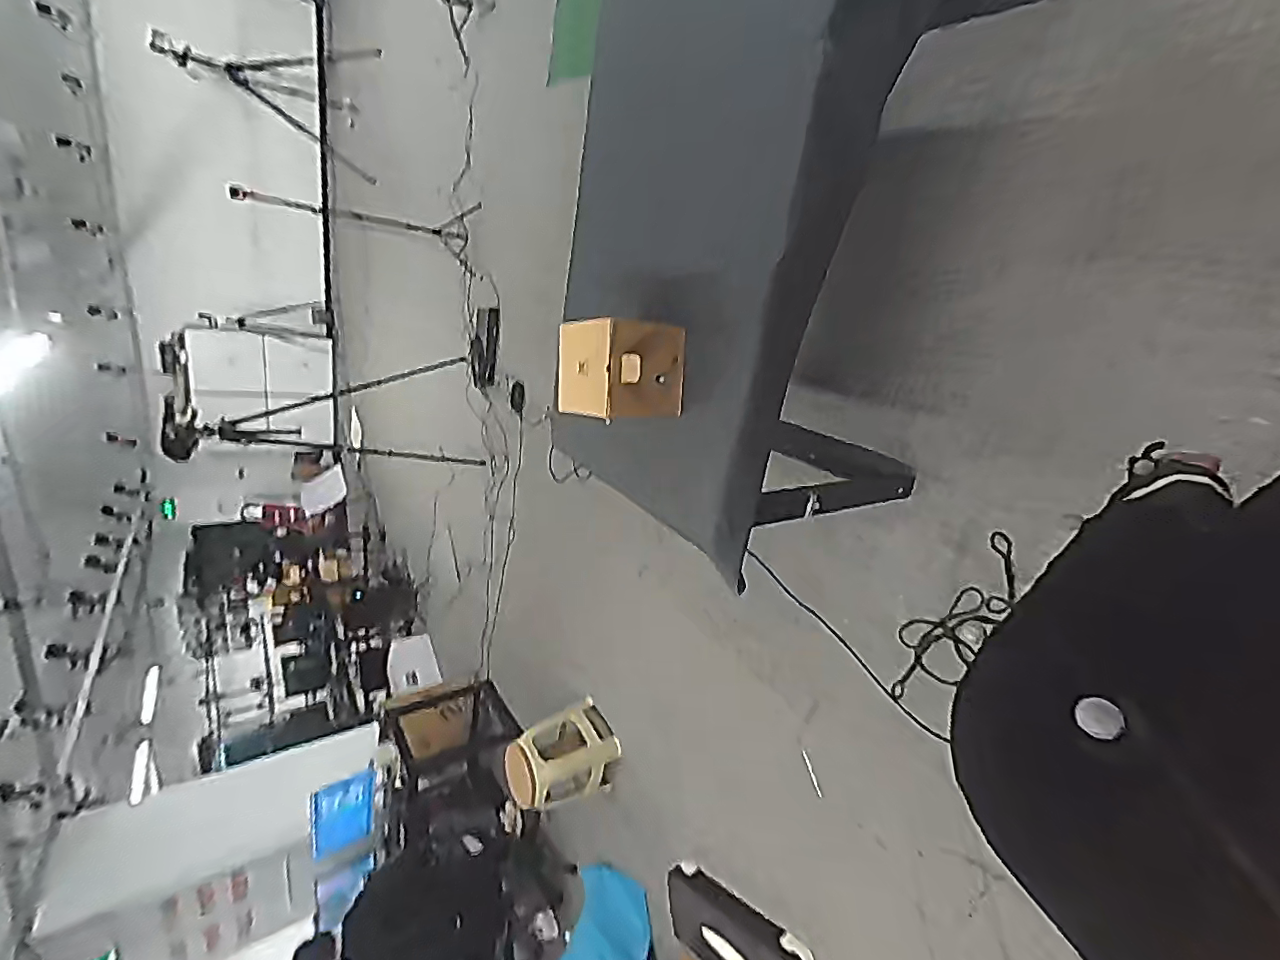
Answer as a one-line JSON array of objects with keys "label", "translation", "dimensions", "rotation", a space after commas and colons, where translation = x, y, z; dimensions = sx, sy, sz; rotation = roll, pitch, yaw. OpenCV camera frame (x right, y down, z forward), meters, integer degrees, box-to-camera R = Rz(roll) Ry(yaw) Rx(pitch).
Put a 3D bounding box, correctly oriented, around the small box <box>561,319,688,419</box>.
[{"label": "small box", "translation": [-0.032, -0.204, 1.016], "dimensions": [0.179, 0.176, 0.168], "rotation": [14, 105, 51]}]
